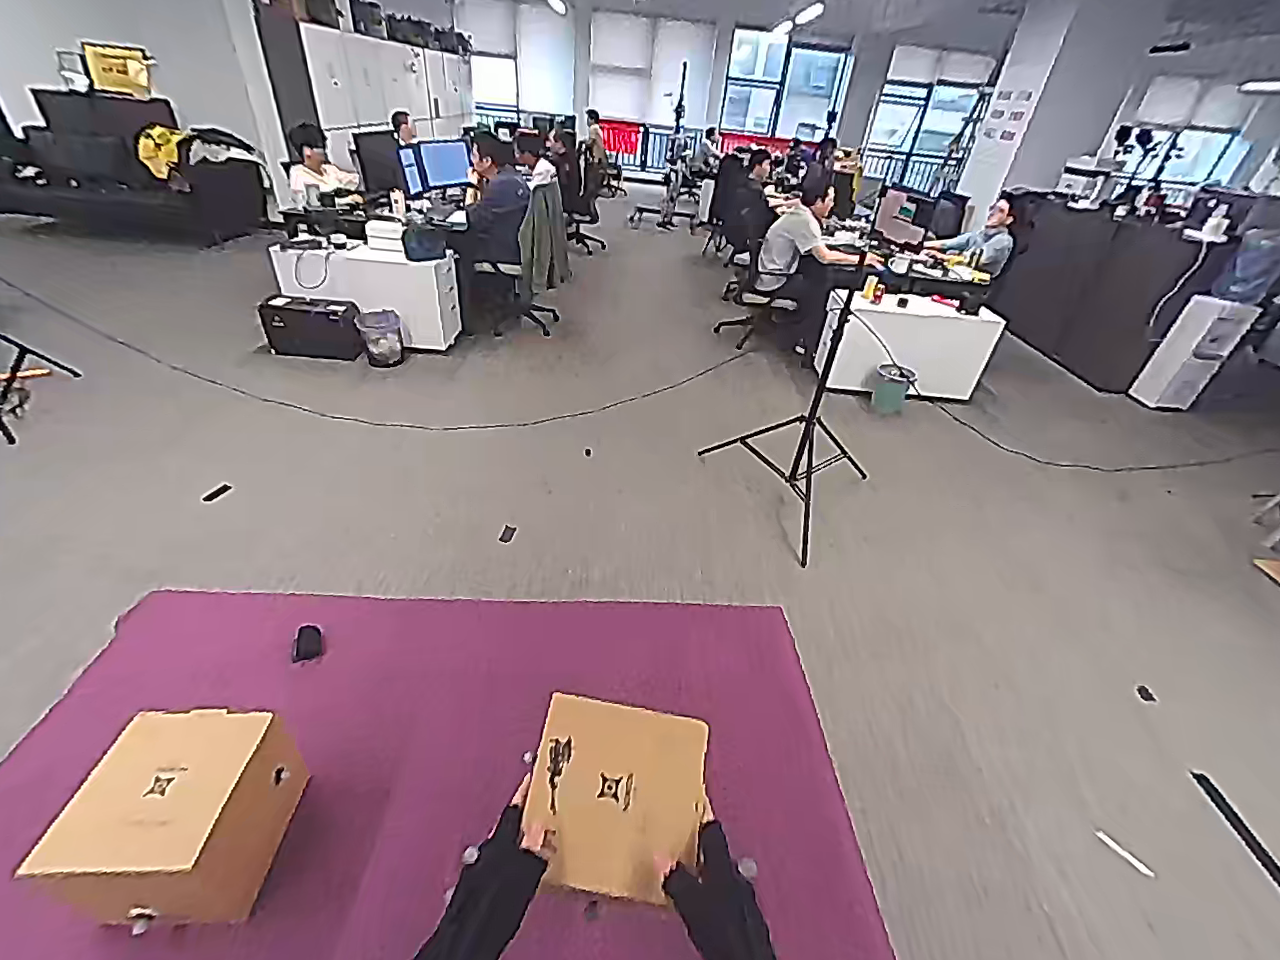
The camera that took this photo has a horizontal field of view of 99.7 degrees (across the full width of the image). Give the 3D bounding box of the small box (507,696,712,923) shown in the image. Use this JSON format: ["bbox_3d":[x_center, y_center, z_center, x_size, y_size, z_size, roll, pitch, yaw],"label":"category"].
[{"bbox_3d":[-0.032,0.359,0.586,0.179,0.176,0.168,12,49,0],"label":"small box"}]

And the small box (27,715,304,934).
[{"bbox_3d":[-0.541,0.413,0.657,0.168,0.176,0.179,1,36,-5],"label":"small box"}]
